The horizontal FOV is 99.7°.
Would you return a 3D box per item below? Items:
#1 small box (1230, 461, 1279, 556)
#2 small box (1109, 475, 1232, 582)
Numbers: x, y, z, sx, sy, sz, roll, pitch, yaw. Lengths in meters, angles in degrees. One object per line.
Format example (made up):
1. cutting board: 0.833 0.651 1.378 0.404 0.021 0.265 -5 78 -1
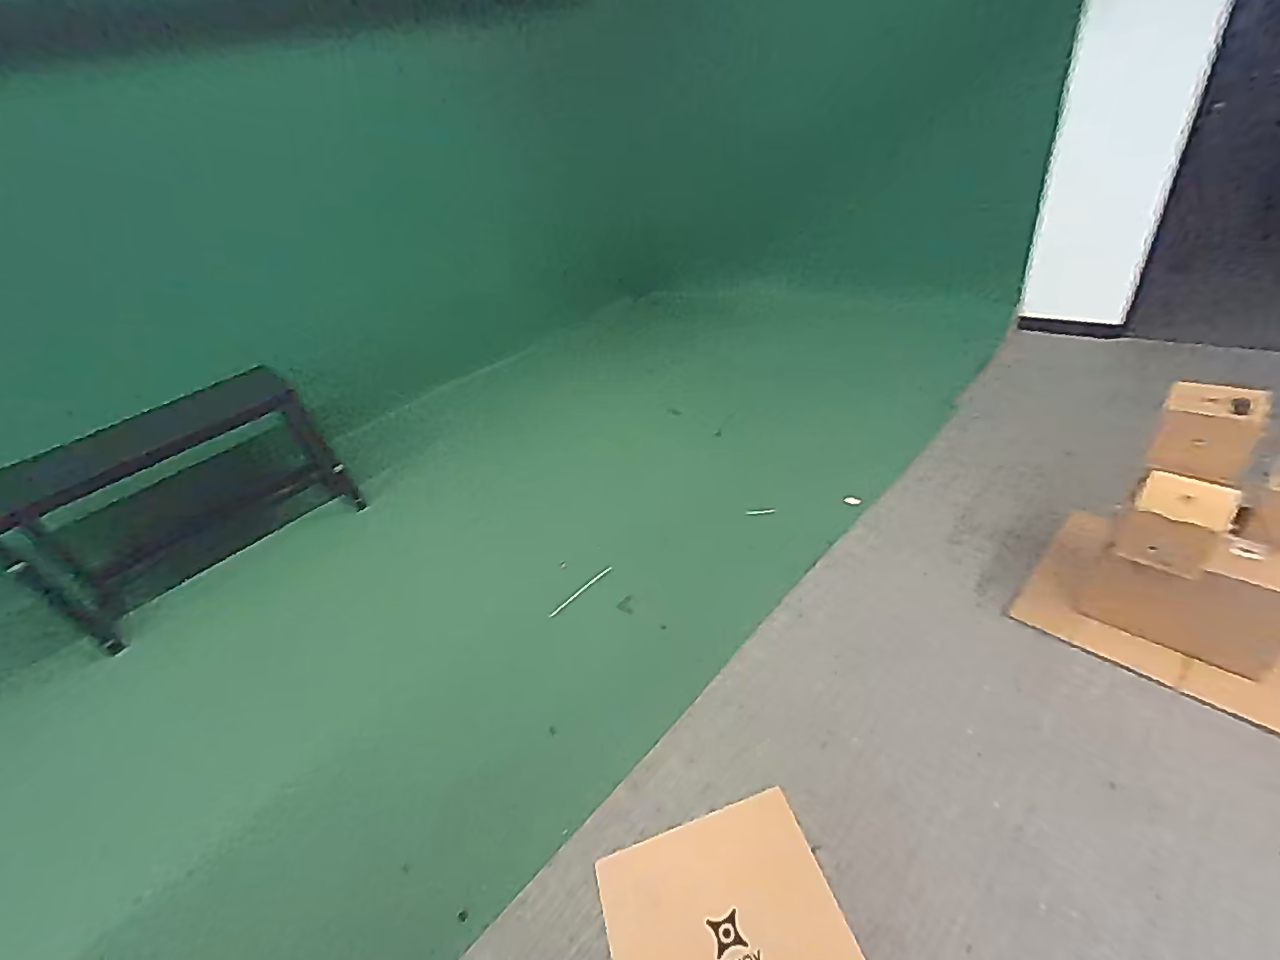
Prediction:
1. small box: 1.619 0.085 1.325 0.168 0.176 0.179 -34 38 -25
2. small box: 1.337 0.121 1.372 0.179 0.176 0.168 -37 42 -27
